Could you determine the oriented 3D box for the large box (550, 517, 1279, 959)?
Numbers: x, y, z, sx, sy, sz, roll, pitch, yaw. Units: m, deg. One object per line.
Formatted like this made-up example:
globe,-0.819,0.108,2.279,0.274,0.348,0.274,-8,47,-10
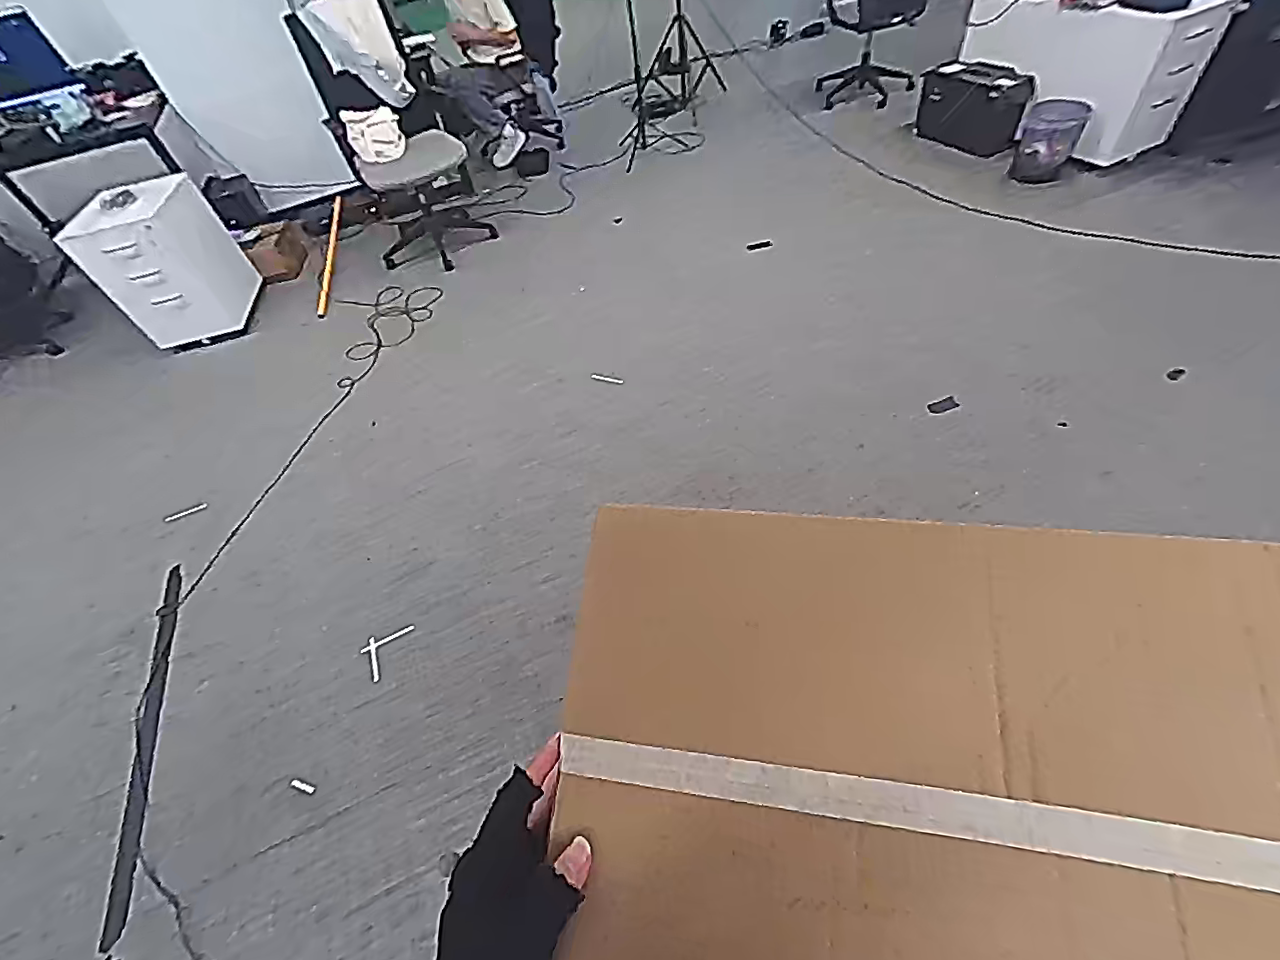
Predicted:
large box,0.181,0.229,0.425,0.408,0.320,0.320,3,71,13
